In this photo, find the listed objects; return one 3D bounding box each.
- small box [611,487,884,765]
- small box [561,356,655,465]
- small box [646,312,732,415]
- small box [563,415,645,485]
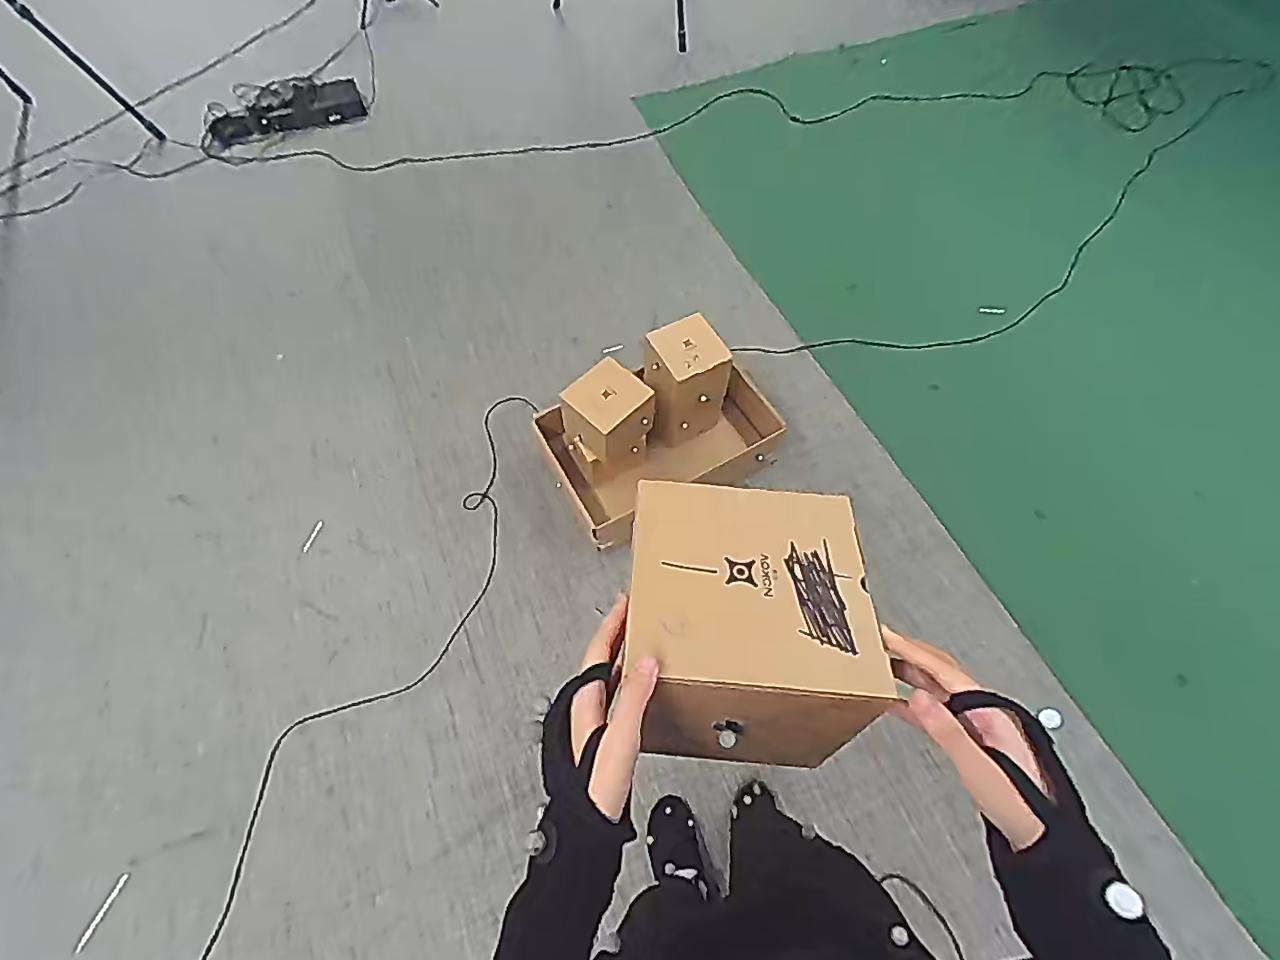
[{"bbox_3d":[0.071,0.127,0.455,0.179,0.176,0.168,4,48,0],"label":"small box"},{"bbox_3d":[-0.082,-0.174,1.388,0.168,0.176,0.179,41,70,17],"label":"small box"},{"bbox_3d":[0.124,-0.307,1.448,0.168,0.176,0.179,-26,67,-11],"label":"small box"},{"bbox_3d":[-0.097,-0.112,1.538,0.179,0.176,0.168,-26,67,-13],"label":"small box"}]
